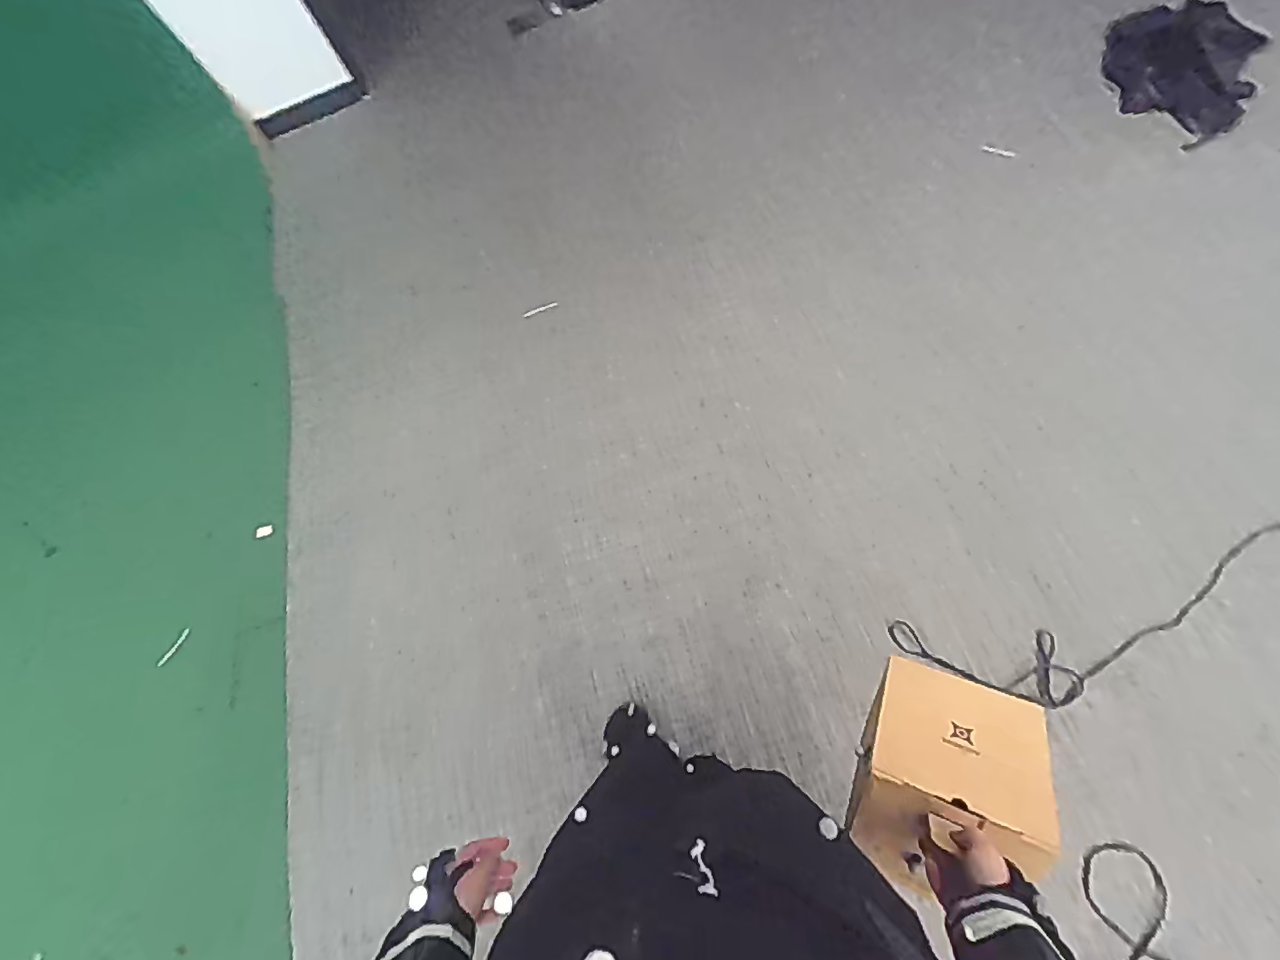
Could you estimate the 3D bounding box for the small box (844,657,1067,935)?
[{"bbox_3d":[0.343,0.346,0.611,0.168,0.176,0.179,17,33,24],"label":"small box"}]
